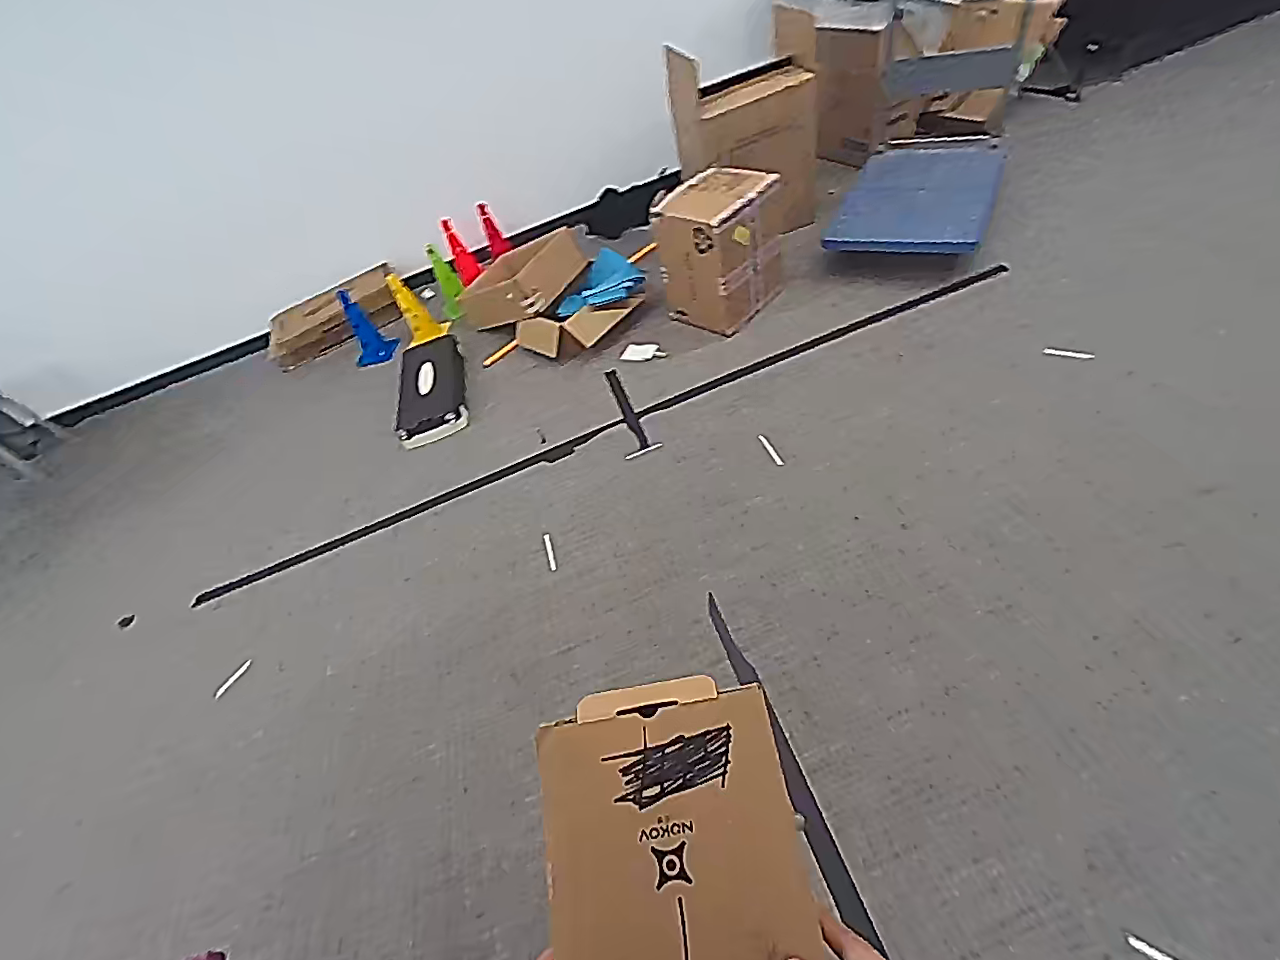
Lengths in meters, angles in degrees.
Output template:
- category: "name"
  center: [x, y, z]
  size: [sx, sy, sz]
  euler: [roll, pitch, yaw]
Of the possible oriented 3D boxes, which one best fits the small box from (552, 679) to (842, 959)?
- category: "small box"
  center: [0.035, 0.267, 0.420]
  size: [0.168, 0.176, 0.179]
  euler: [-11, 64, 2]
